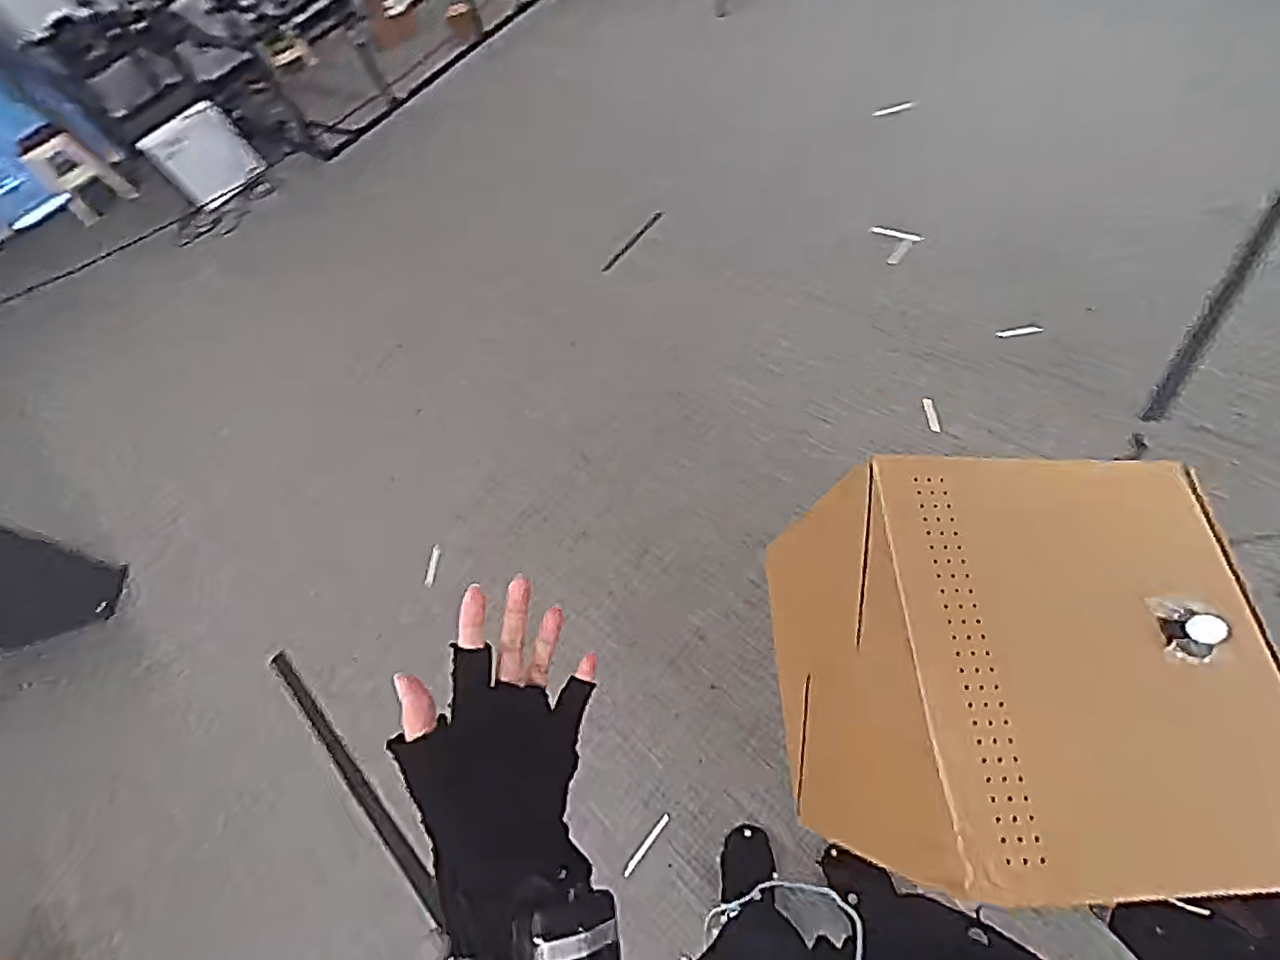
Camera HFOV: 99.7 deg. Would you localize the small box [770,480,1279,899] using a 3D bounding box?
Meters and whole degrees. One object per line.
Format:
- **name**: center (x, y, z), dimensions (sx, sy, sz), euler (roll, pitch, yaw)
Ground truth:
- **small box**: center (0.181, 0.108, 0.308), dimensions (0.176, 0.168, 0.179), euler (1, 66, -4)
